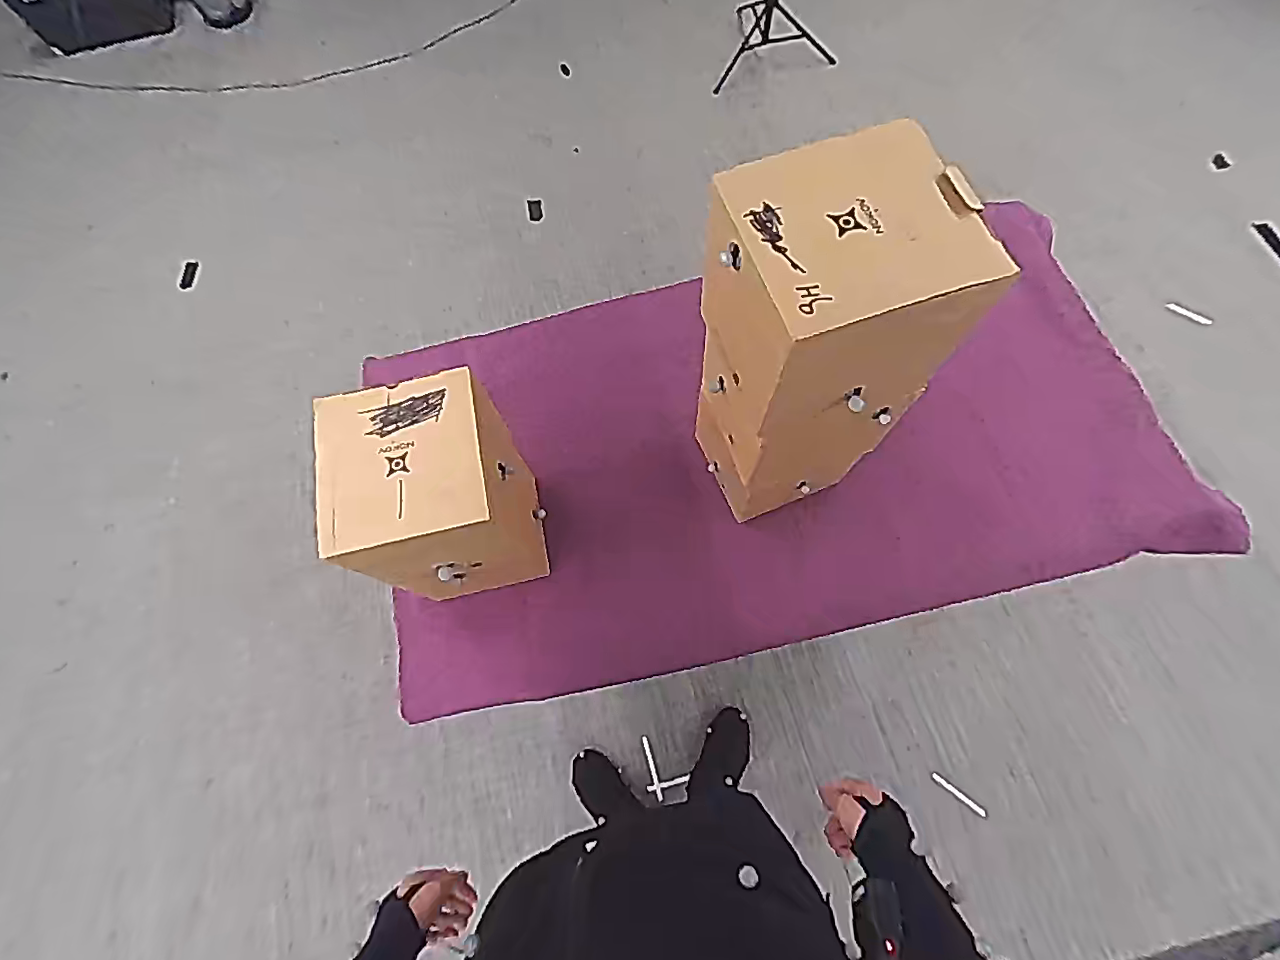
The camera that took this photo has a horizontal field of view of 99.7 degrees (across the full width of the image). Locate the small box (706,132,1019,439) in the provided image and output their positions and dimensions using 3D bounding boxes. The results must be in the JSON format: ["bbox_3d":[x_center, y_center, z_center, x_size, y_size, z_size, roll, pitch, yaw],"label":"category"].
[{"bbox_3d":[0.170,-0.159,0.481,0.179,0.176,0.168,-16,70,-4],"label":"small box"}]

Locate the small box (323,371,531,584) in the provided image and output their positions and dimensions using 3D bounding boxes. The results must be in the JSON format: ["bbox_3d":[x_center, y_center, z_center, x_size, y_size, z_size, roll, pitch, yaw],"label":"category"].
[{"bbox_3d":[-0.231,0.006,0.614,0.168,0.176,0.179,-13,70,-2],"label":"small box"}]

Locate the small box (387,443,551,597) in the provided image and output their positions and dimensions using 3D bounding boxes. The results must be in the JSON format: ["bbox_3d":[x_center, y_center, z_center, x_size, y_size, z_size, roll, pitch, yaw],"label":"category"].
[{"bbox_3d":[-0.238,0.061,0.769,0.179,0.176,0.168,-12,70,-2],"label":"small box"}]

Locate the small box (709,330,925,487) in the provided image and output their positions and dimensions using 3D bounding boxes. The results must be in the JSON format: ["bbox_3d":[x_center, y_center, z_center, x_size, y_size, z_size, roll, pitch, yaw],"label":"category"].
[{"bbox_3d":[0.186,-0.108,0.637,0.179,0.176,0.168,-17,70,-3],"label":"small box"}]
